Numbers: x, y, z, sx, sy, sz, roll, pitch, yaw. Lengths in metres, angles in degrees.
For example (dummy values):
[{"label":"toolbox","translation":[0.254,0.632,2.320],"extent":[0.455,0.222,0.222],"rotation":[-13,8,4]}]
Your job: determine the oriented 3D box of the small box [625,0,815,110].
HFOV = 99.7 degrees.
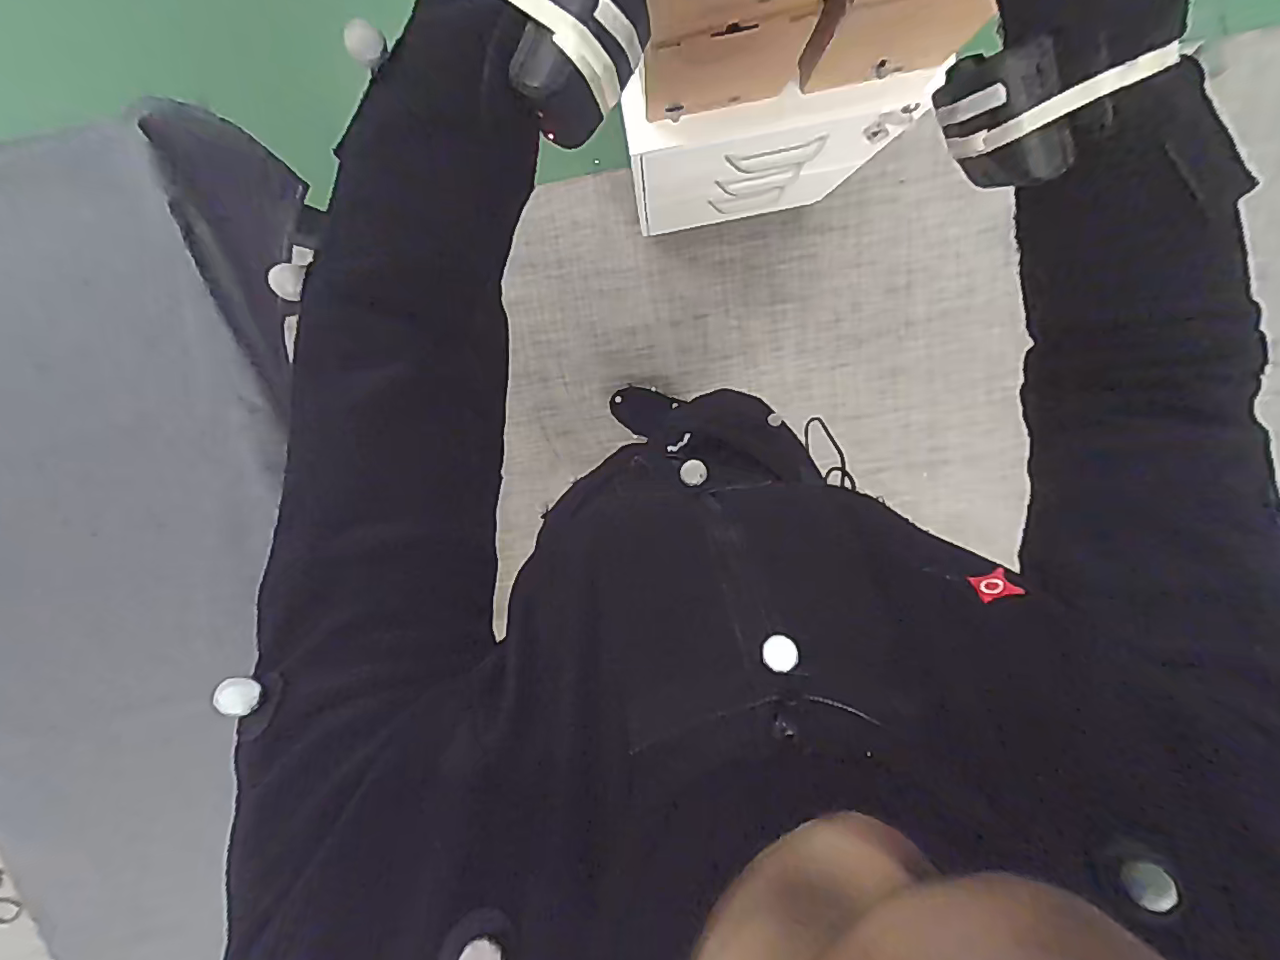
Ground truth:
[{"label":"small box","translation":[0.068,-0.510,0.551],"extent":[0.168,0.176,0.179],"rotation":[-9,103,3]}]
